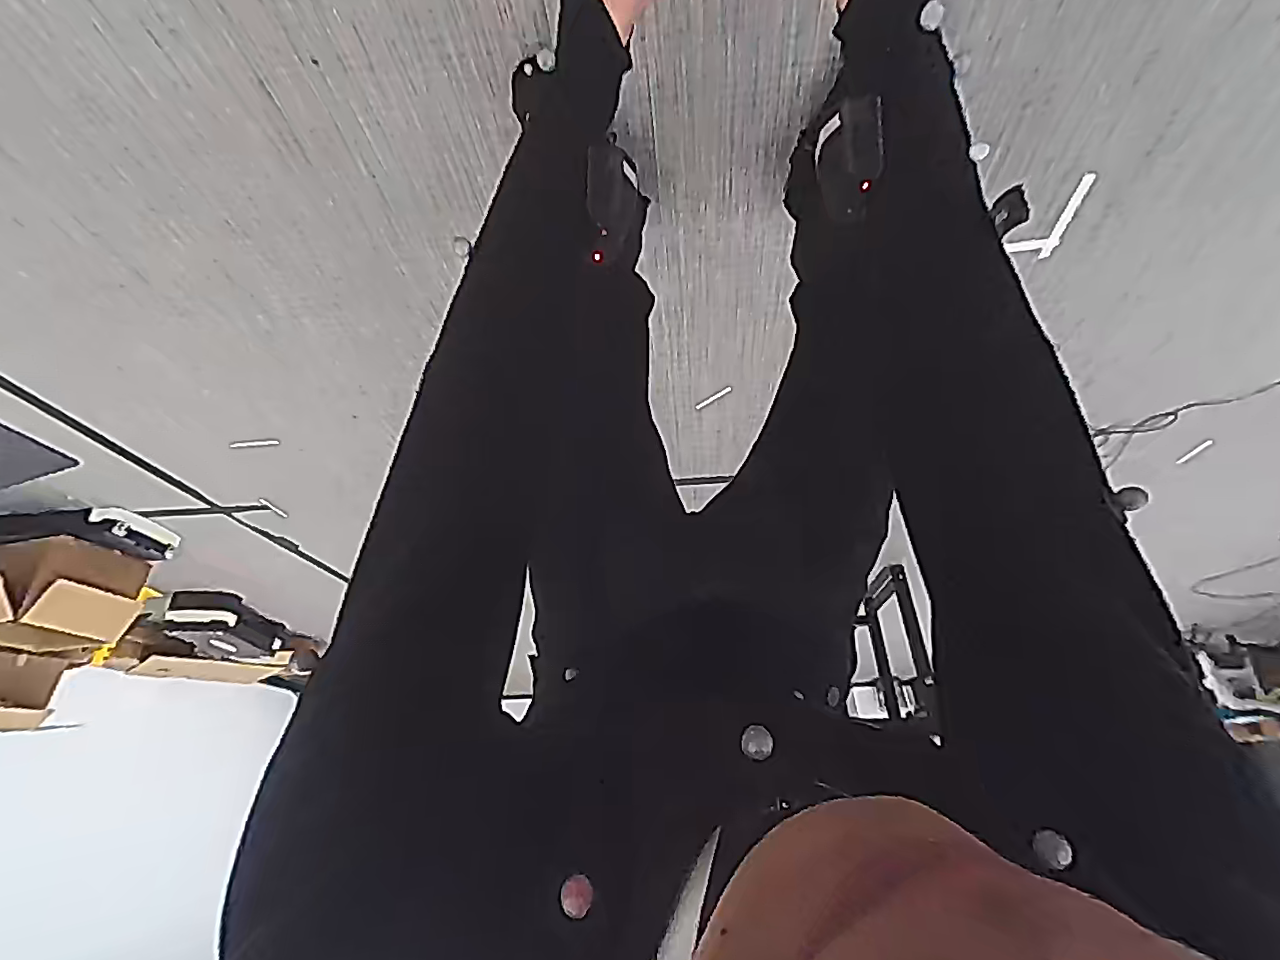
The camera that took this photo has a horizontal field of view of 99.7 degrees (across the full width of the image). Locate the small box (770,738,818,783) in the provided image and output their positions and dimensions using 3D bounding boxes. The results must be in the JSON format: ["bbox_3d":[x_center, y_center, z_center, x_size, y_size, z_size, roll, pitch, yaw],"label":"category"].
[{"bbox_3d":[0.671,1.237,2.377,0.179,0.176,0.168,-4,152,7],"label":"small box"}]

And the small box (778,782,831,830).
[{"bbox_3d":[0.691,1.373,2.287,0.179,0.176,0.168,-5,151,7],"label":"small box"}]
